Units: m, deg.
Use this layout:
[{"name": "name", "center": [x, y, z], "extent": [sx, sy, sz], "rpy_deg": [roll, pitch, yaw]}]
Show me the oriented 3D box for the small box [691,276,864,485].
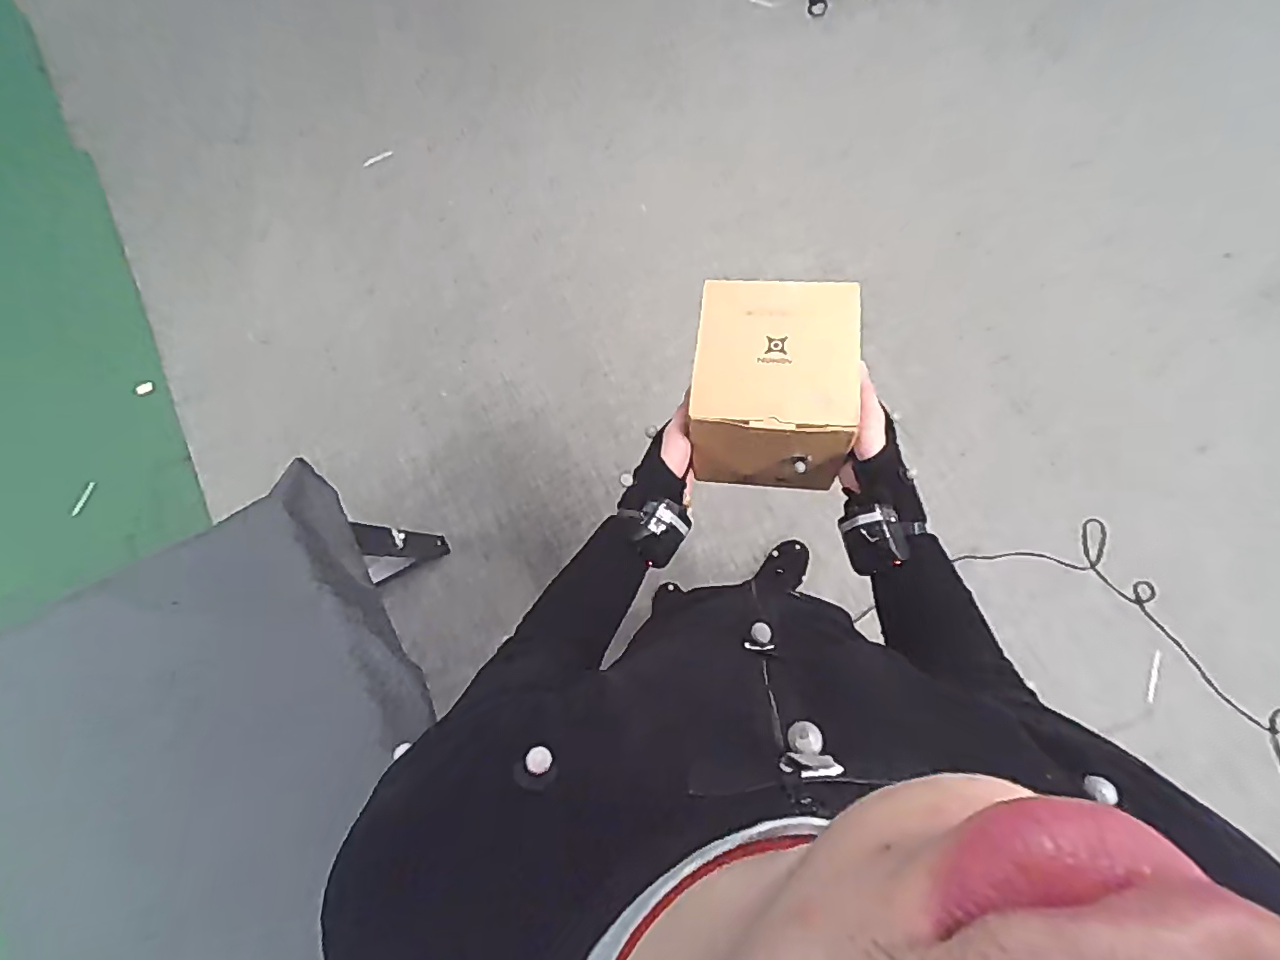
[{"name": "small box", "center": [0.153, -0.107, 0.625], "extent": [0.168, 0.176, 0.179], "rpy_deg": [6, 67, 9]}]
